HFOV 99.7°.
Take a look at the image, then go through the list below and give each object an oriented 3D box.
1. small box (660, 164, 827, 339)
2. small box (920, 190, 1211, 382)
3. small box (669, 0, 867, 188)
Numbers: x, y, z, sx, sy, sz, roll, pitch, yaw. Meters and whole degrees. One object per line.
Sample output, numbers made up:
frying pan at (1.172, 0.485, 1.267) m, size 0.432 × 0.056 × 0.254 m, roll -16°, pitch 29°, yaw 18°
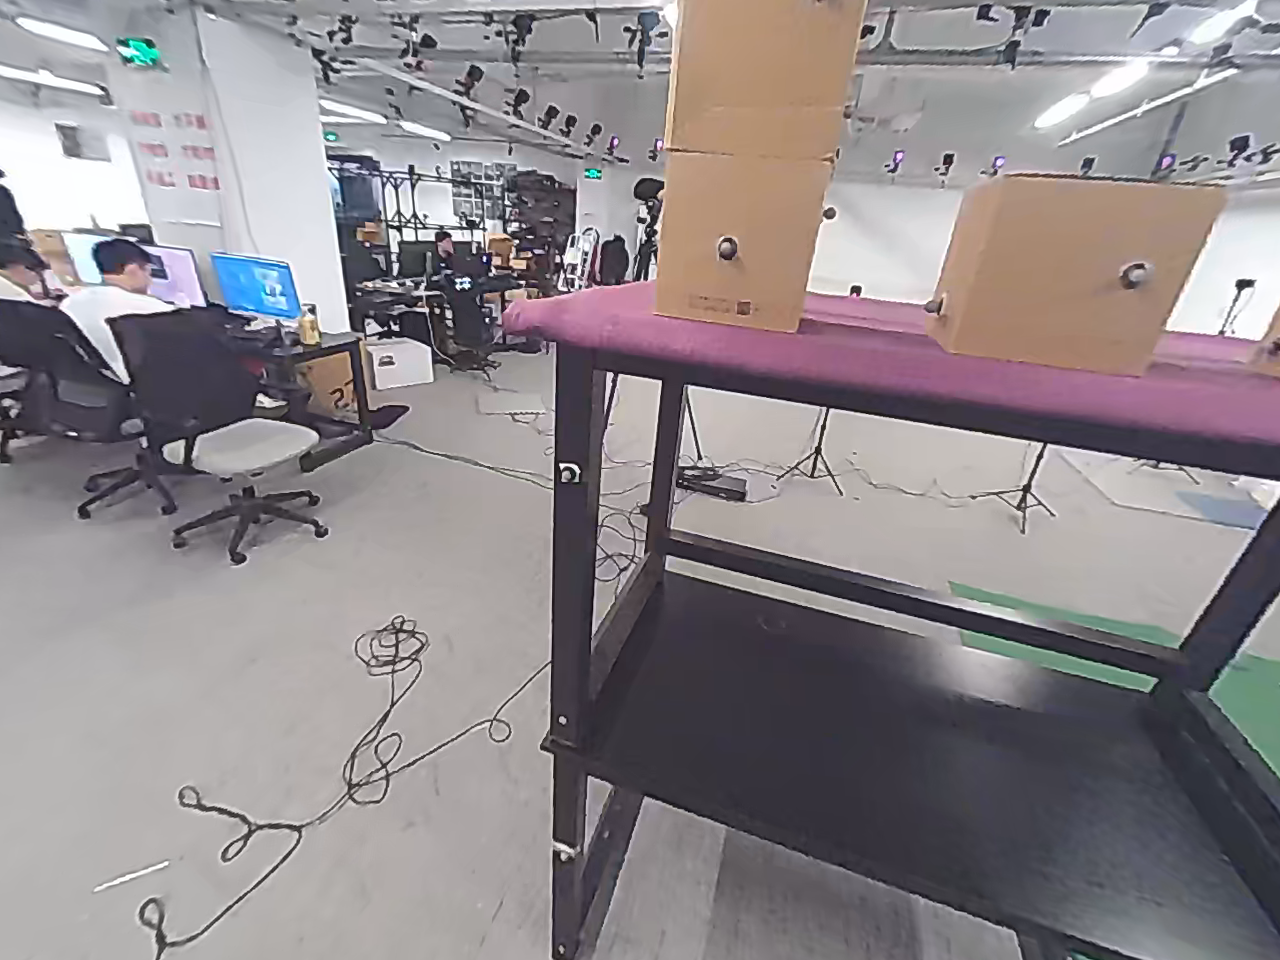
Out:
small box at (0.127, -0.275, 0.662) m, size 0.168 × 0.176 × 0.179 m, roll 13°, pitch 25°, yaw 13°
small box at (0.433, -0.210, 0.591) m, size 0.179 × 0.176 × 0.168 m, roll 11°, pitch 24°, yaw 14°
small box at (0.136, -0.423, 0.594) m, size 0.179 × 0.176 × 0.168 m, roll 12°, pitch 26°, yaw 11°
